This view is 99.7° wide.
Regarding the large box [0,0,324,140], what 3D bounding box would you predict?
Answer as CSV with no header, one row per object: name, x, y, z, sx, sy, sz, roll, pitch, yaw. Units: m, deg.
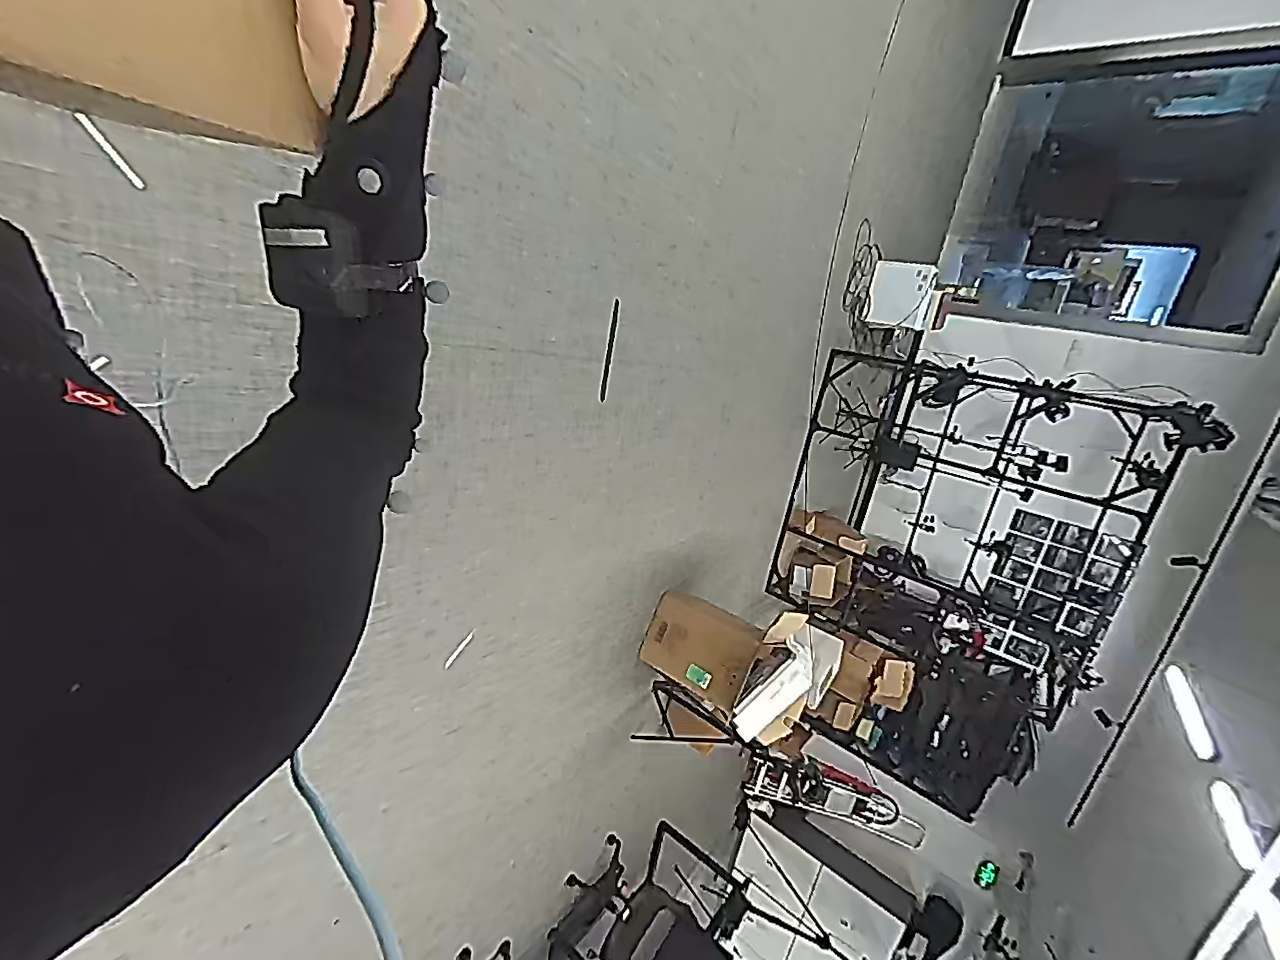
large box,-0.385,-0.350,0.172,0.408,0.320,0.320,-18,128,-54
